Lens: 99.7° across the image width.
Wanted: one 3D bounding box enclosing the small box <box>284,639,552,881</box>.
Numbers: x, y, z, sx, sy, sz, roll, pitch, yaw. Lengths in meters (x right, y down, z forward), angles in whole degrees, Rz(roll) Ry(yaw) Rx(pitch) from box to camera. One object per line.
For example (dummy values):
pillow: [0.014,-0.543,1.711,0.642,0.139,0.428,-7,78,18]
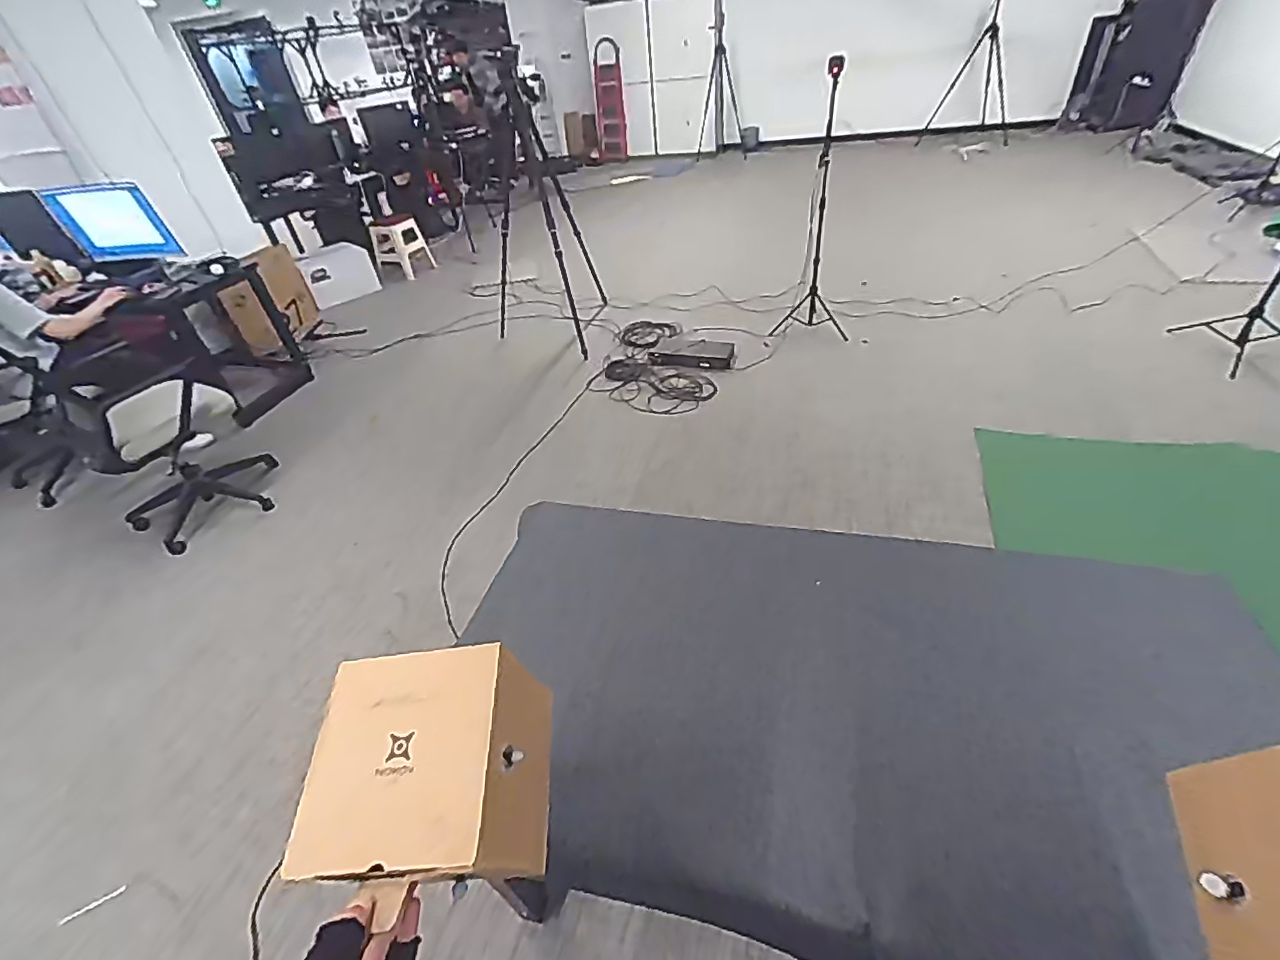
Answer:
small box: [-0.189,0.275,0.525,0.168,0.176,0.179,-8,52,6]
